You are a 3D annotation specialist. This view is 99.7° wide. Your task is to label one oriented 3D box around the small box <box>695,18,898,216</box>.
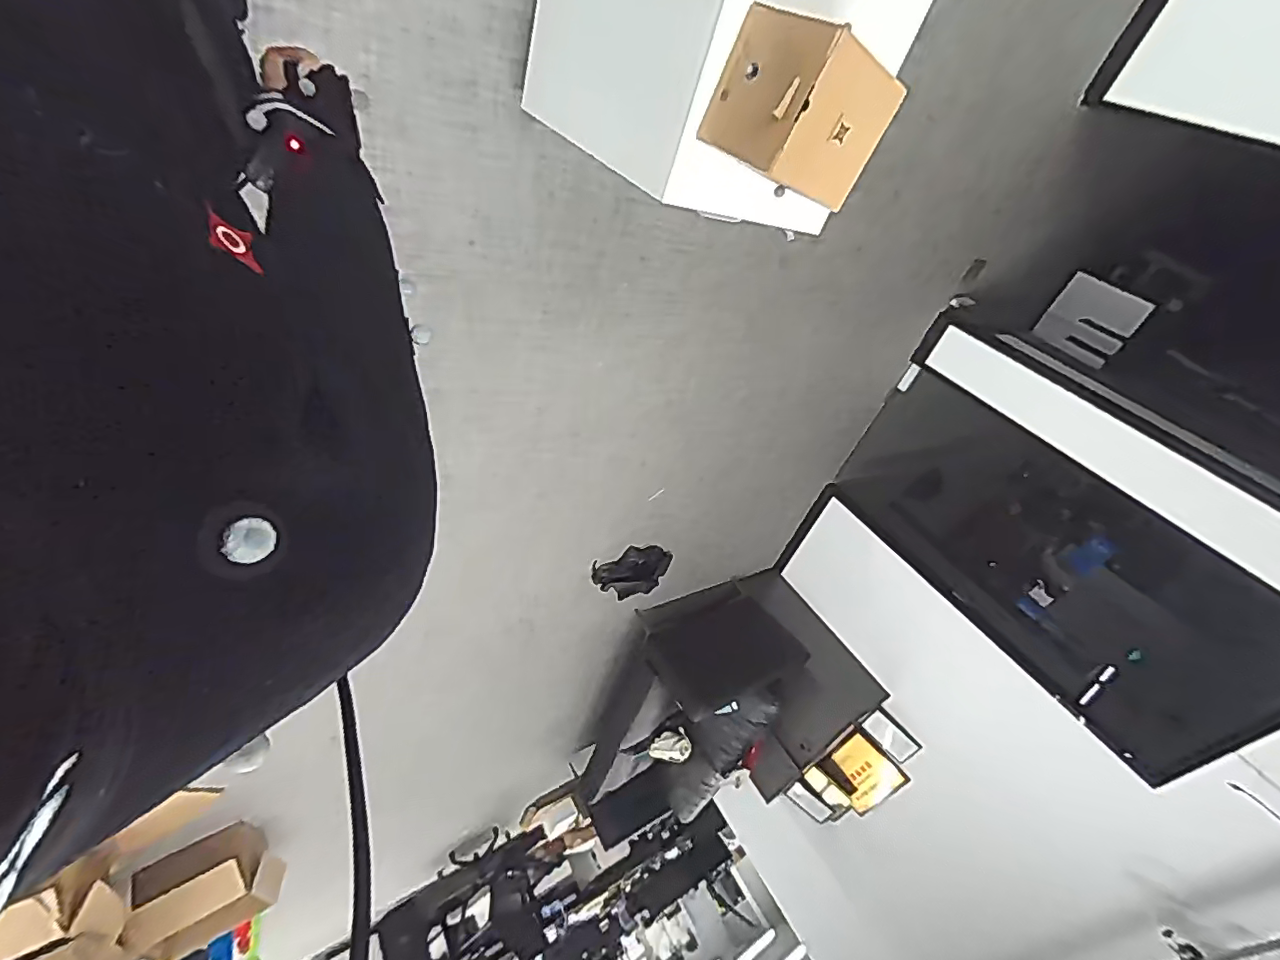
[{"bbox_3d":[0.213,-0.507,0.762,0.179,0.176,0.168,-3,133,-41],"label":"small box"}]
